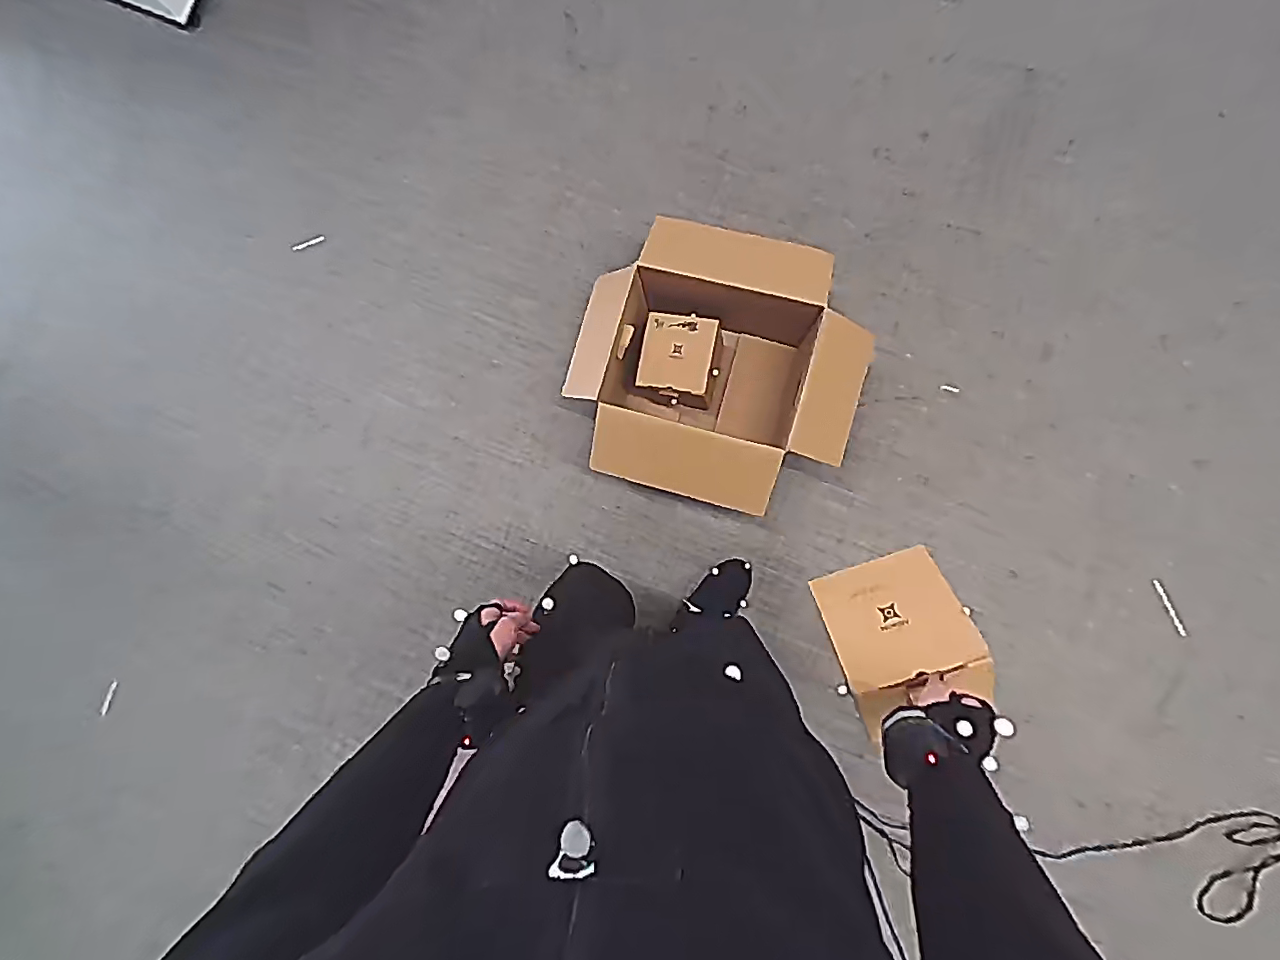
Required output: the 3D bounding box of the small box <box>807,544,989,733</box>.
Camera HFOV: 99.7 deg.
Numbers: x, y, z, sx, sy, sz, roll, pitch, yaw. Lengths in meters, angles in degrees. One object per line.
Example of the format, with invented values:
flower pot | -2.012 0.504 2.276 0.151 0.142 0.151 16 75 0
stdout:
small box | 0.354 0.226 0.747 0.168 0.179 0.176 -21 128 11
